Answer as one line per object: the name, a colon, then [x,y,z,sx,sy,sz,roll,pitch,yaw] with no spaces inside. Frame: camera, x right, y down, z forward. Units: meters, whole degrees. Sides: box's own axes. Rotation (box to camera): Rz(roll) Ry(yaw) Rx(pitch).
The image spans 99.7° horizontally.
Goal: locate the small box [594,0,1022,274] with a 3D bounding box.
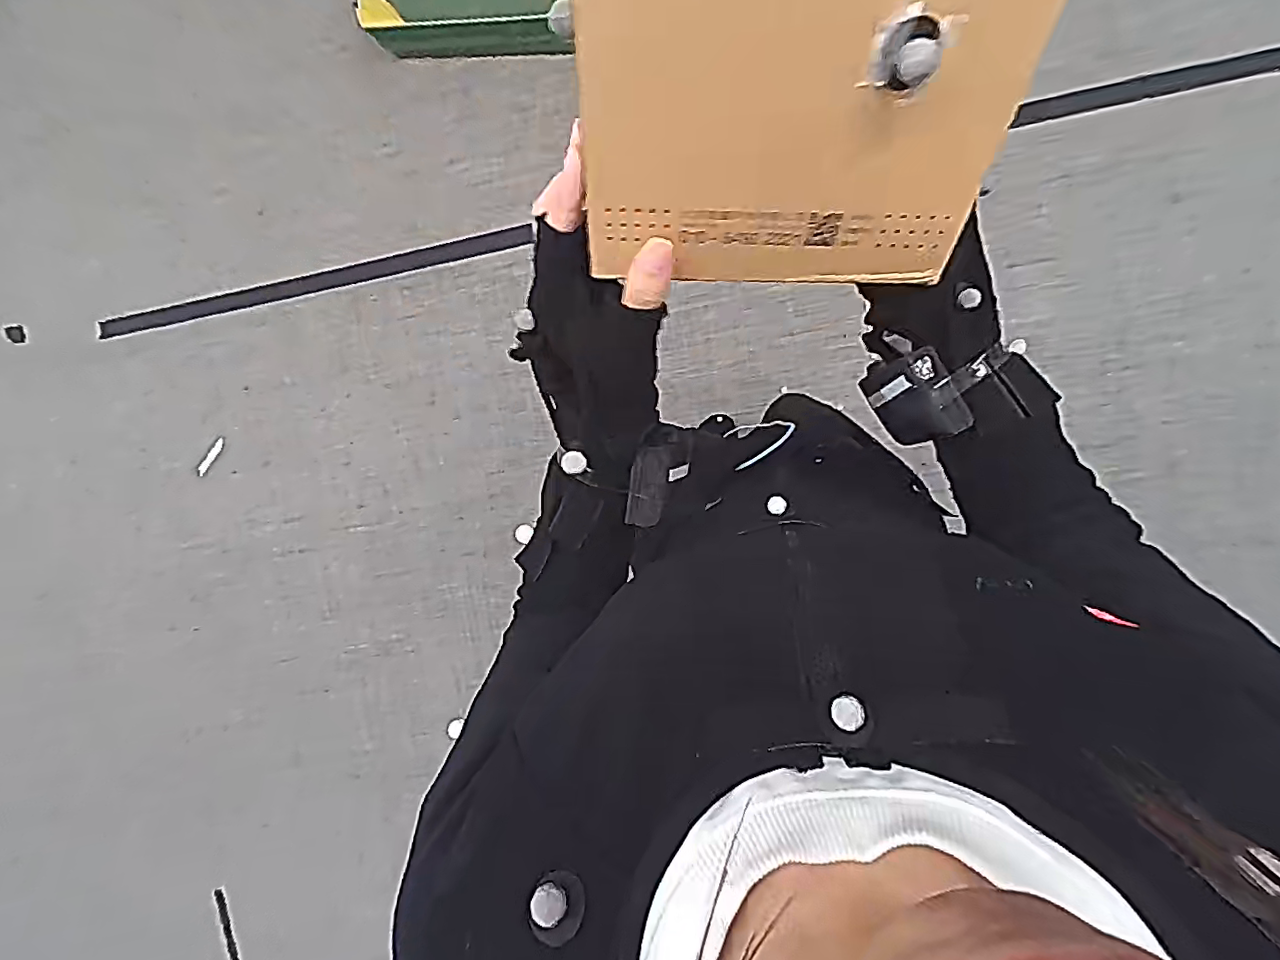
small box: [0.066,-0.220,0.270,0.168,0.179,0.176,1,138,-1]
